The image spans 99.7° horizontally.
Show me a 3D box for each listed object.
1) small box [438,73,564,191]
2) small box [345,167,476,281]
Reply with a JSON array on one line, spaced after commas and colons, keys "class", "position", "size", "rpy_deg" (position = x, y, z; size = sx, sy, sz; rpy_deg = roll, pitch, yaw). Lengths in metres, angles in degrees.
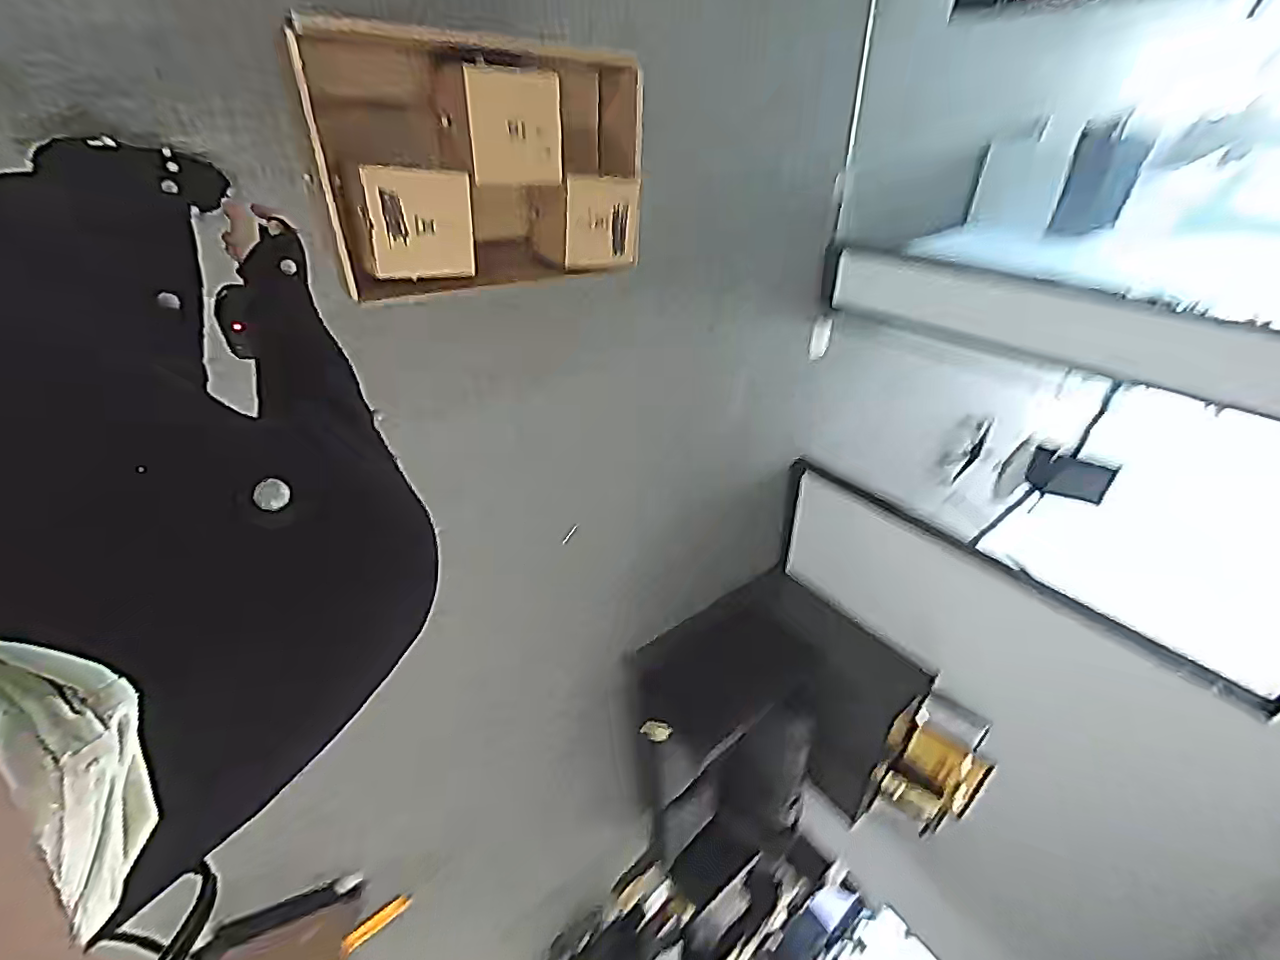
[{"class": "small box", "position": [-0.256, -0.632, 0.991], "size": [0.179, 0.176, 0.168], "rpy_deg": [-19, 129, -32]}, {"class": "small box", "position": [-0.412, -0.458, 0.969], "size": [0.179, 0.176, 0.168], "rpy_deg": [-17, 127, -33]}]
